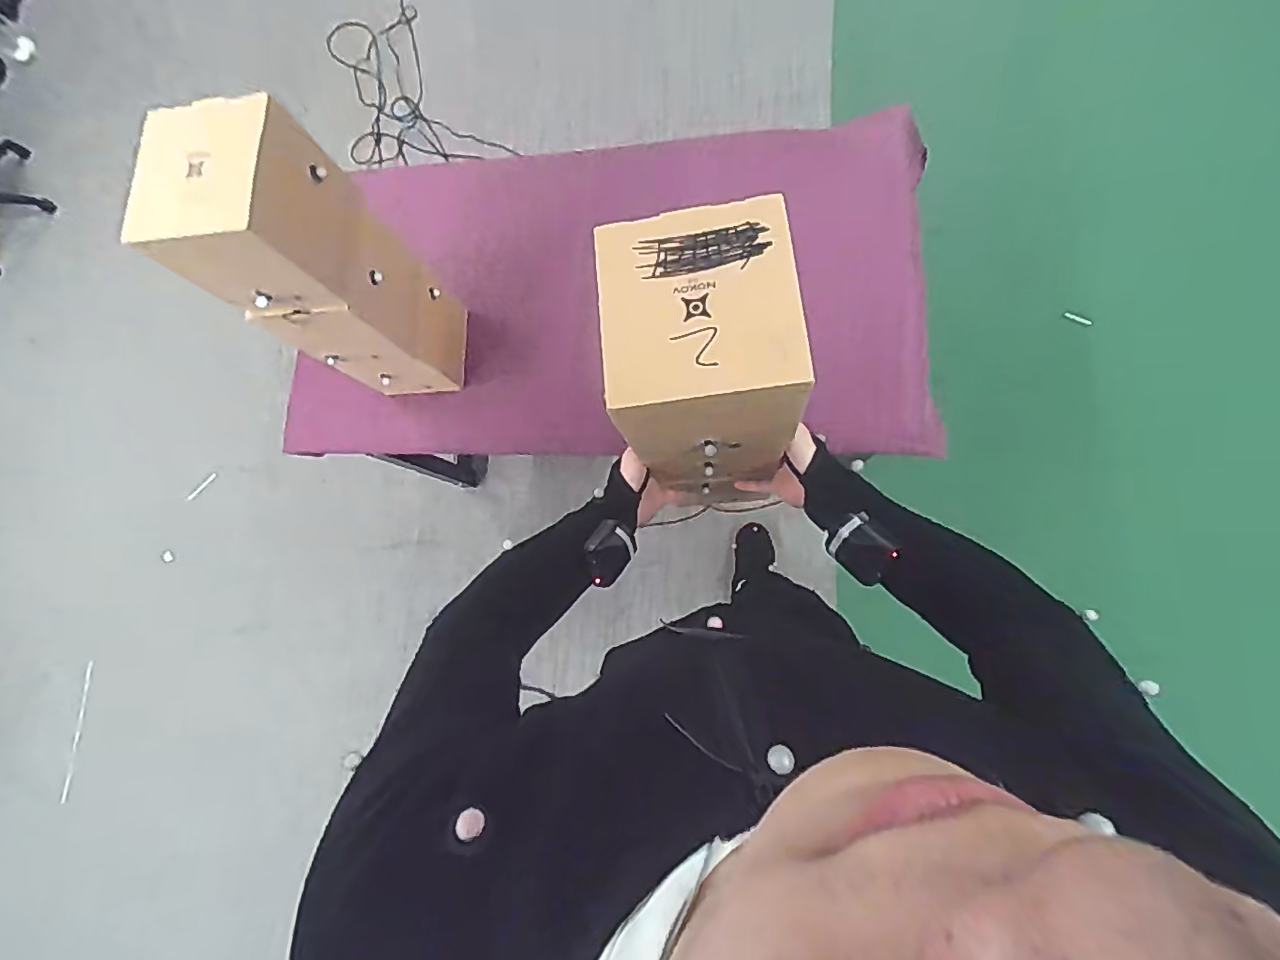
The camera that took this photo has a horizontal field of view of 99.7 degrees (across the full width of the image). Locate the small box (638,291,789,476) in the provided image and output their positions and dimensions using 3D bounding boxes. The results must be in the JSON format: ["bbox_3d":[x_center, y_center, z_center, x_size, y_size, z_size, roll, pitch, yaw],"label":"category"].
[{"bbox_3d":[0.092,-0.106,0.675,0.168,0.176,0.179,-3,75,9],"label":"small box"}]

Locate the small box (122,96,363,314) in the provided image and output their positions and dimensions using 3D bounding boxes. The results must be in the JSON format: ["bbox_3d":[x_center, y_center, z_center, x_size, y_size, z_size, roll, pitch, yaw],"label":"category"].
[{"bbox_3d":[-0.481,-0.333,0.682,0.168,0.176,0.179,-1,79,10],"label":"small box"}]

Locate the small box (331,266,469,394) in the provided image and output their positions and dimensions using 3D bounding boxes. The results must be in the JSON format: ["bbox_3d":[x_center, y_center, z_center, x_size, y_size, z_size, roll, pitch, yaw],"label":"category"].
[{"bbox_3d":[-0.432,-0.265,0.999,0.168,0.176,0.179,-2,79,9],"label":"small box"}]

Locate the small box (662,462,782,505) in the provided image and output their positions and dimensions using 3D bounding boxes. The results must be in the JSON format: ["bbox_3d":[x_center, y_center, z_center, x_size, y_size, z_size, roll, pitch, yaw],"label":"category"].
[{"bbox_3d":[0.122,-0.066,0.834,0.168,0.176,0.179,-5,76,10],"label":"small box"}]

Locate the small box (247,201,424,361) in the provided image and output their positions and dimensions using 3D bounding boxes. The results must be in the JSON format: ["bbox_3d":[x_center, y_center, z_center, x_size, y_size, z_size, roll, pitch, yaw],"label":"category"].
[{"bbox_3d":[-0.458,-0.294,0.839,0.168,0.176,0.179,-1,78,9],"label":"small box"}]
